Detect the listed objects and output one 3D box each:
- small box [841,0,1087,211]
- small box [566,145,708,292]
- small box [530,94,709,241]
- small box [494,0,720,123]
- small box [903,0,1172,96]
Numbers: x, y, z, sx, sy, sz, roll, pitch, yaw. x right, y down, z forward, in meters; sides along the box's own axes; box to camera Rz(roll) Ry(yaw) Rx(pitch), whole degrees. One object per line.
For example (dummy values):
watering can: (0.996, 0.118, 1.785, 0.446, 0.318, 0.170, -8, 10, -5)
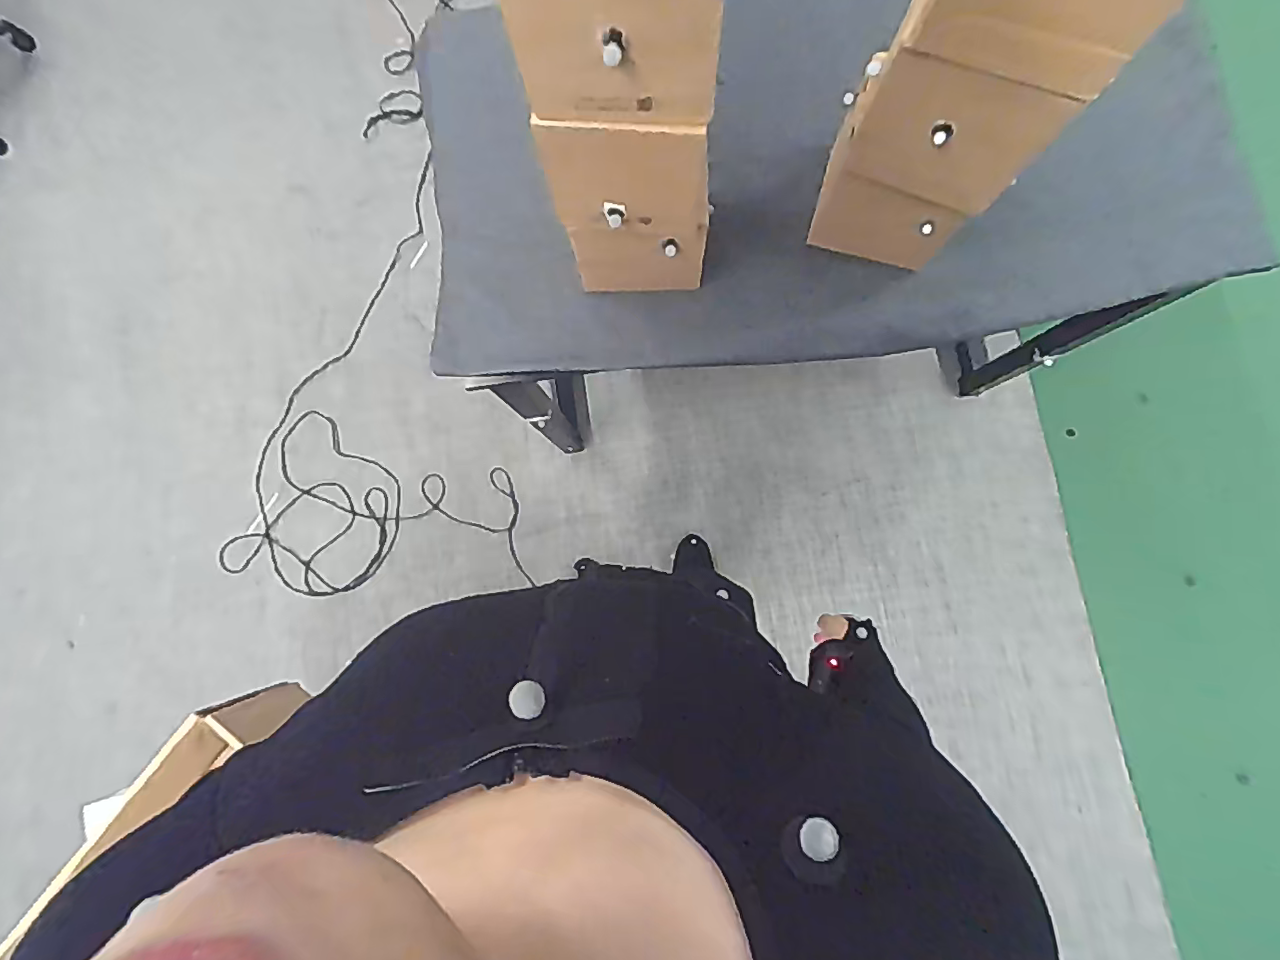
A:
small box: (0.346, -0.423, 0.573, 0.179, 0.176, 0.168, 23, 84, 5)
small box: (-0.001, -0.375, 0.749, 0.179, 0.176, 0.168, 0, 82, 3)
small box: (-0.010, -0.392, 0.588, 0.168, 0.176, 0.179, 5, 84, 4)
small box: (-0.017, -0.419, 0.426, 0.168, 0.176, 0.179, 4, 83, 4)
small box: (0.336, -0.443, 0.412, 0.179, 0.176, 0.168, 21, 83, 4)
